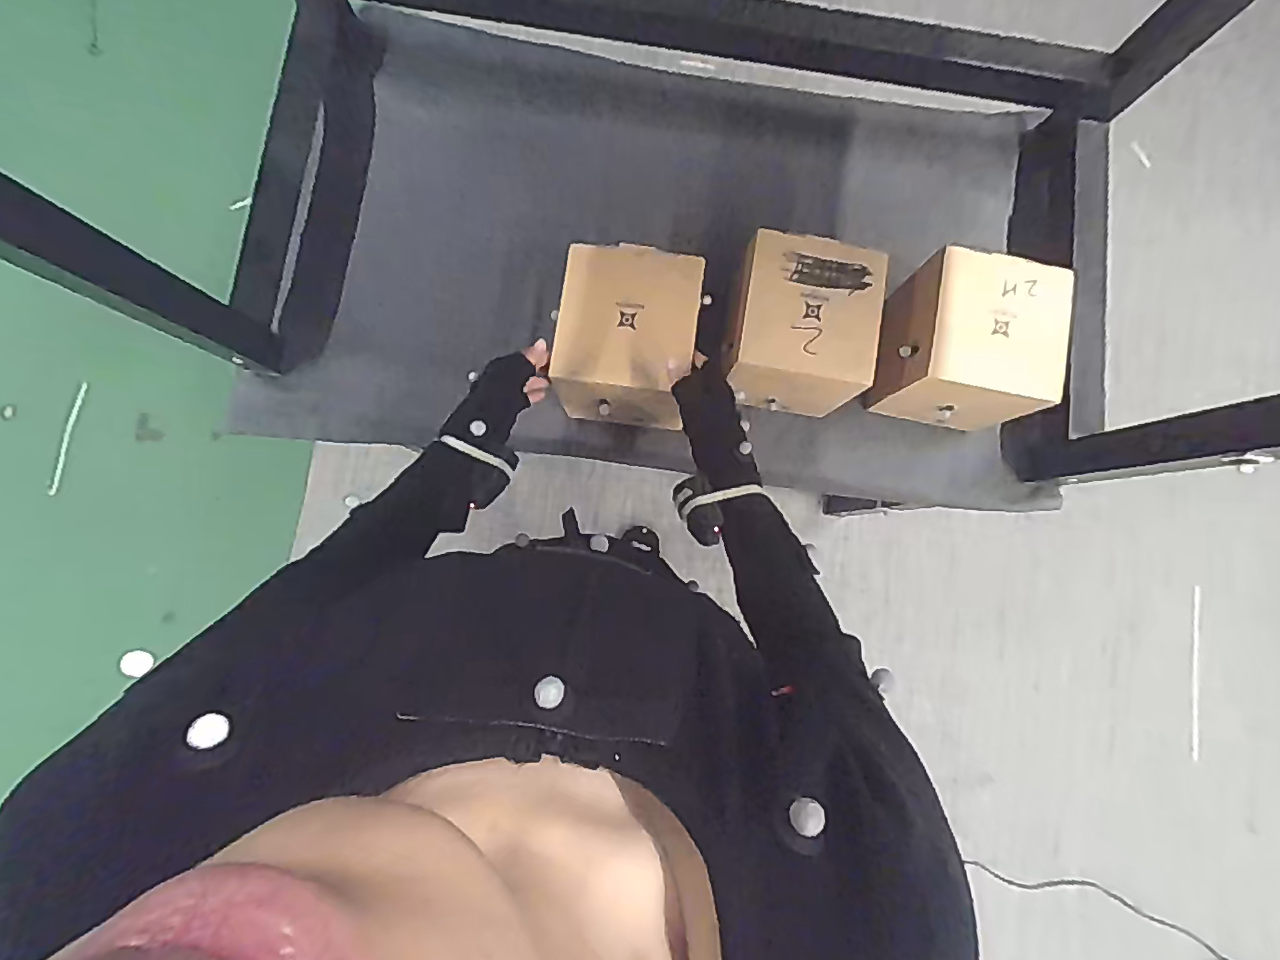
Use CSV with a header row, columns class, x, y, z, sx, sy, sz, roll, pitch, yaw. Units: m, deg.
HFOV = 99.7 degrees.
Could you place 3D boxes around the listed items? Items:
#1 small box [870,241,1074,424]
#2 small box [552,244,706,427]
class,x,y,z,sx,sy,sz,roll,pitch,yaw
small box,0.436,-0.186,0.737,0.168,0.176,0.179,12,83,-1
small box,-0.010,-0.178,0.715,0.168,0.176,0.179,7,80,2
